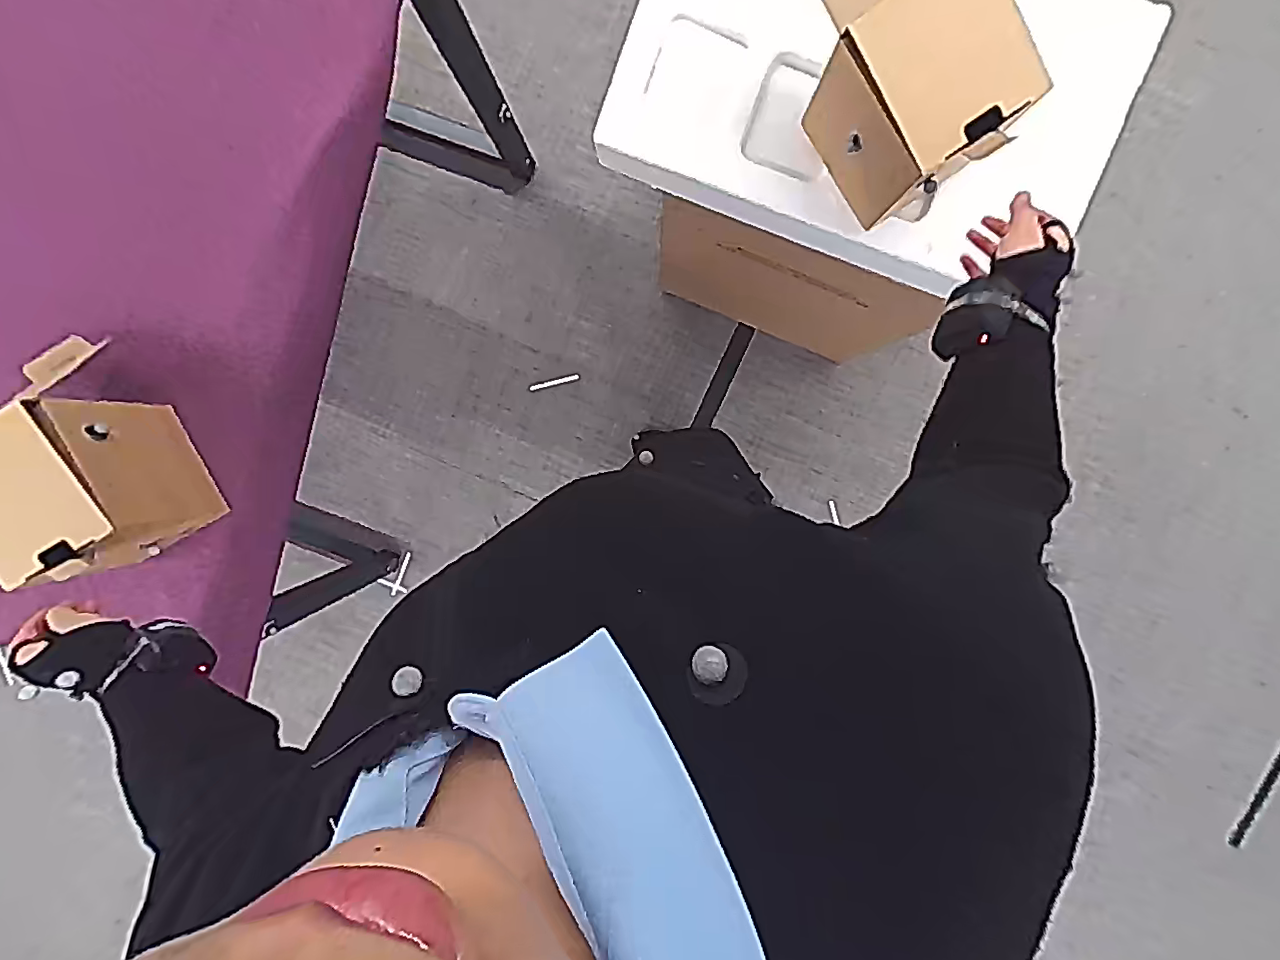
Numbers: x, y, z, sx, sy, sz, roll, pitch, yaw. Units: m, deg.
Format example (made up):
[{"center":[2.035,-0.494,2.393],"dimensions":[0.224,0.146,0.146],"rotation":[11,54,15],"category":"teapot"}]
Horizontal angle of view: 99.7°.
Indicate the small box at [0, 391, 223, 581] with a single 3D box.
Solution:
[{"center":[-0.711,0.004,0.705],"dimensions":[0.168,0.176,0.179],"rotation":[-27,92,6],"category":"small box"}]
